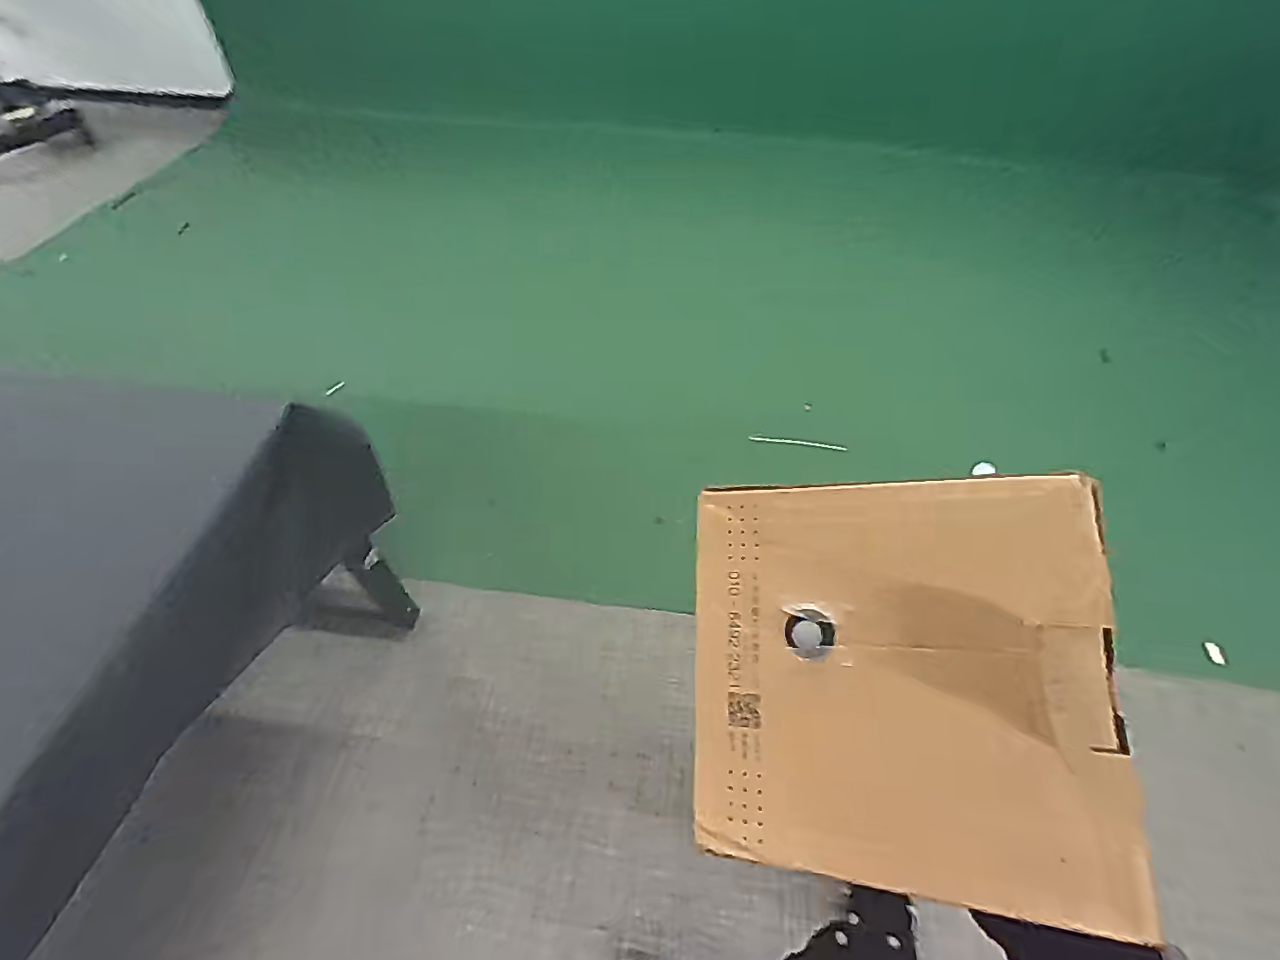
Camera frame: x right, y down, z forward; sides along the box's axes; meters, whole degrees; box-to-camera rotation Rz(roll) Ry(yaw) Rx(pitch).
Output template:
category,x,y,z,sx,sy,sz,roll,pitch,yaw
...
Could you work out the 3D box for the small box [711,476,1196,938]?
category,x,y,z,sx,sy,sz,roll,pitch,yaw
small box,0.144,0.097,0.304,0.176,0.179,0.168,-2,76,21
